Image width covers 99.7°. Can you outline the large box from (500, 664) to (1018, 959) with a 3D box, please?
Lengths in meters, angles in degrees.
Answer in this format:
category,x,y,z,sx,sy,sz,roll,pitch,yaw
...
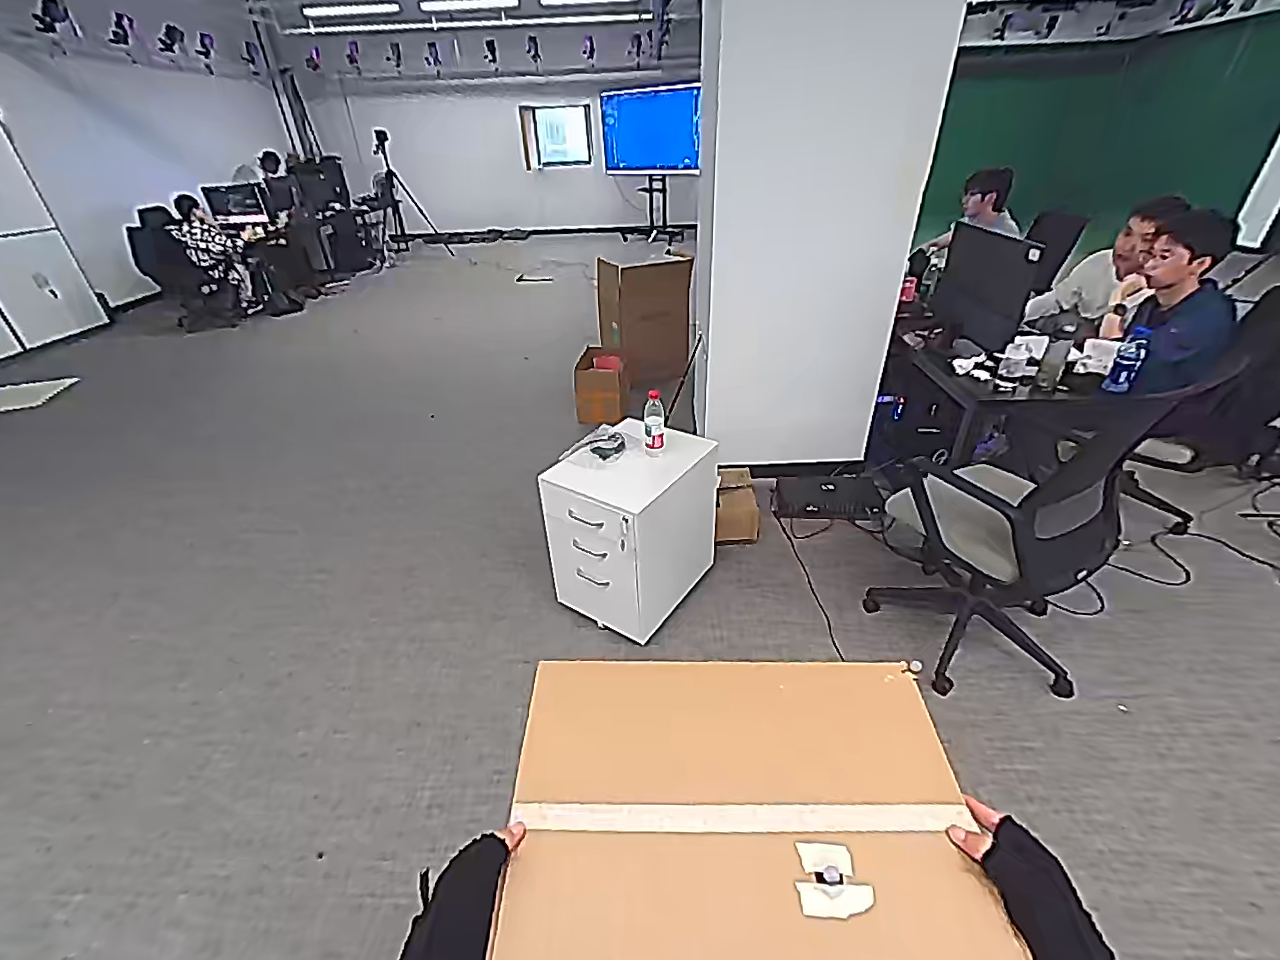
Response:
category,x,y,z,sx,sy,sz,roll,pitch,yaw
large box,0.091,0.419,0.581,0.408,0.320,0.320,0,40,1
